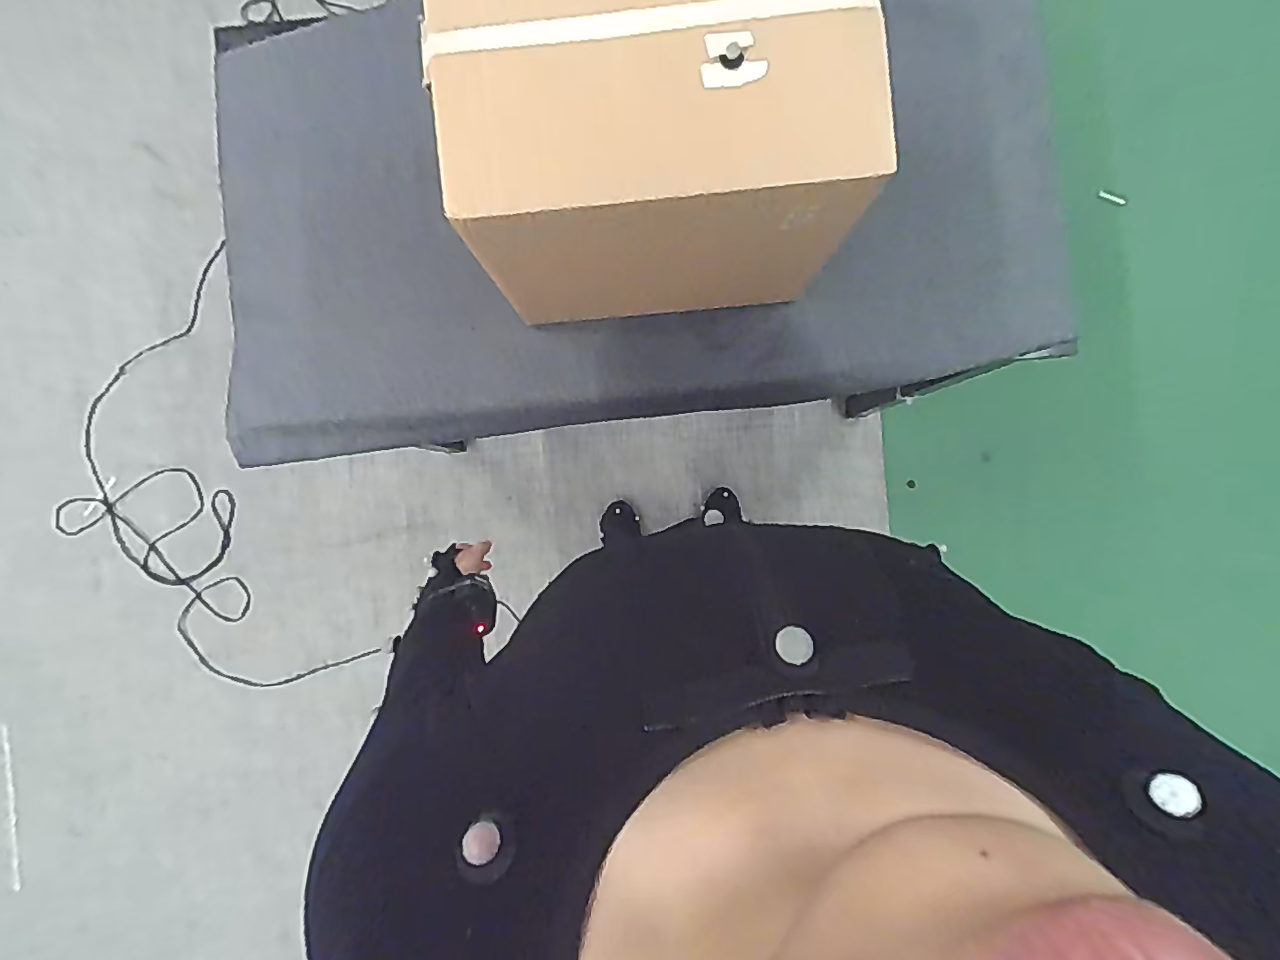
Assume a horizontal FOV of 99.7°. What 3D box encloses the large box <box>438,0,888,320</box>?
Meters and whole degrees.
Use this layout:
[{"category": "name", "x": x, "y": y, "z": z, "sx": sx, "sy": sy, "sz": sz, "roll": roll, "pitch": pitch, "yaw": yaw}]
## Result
[{"category": "large box", "x": 0.015, "y": -0.408, "z": 0.646, "sx": 0.408, "sy": 0.320, "sz": 0.320, "roll": -6, "pitch": 89, "yaw": 1}]
